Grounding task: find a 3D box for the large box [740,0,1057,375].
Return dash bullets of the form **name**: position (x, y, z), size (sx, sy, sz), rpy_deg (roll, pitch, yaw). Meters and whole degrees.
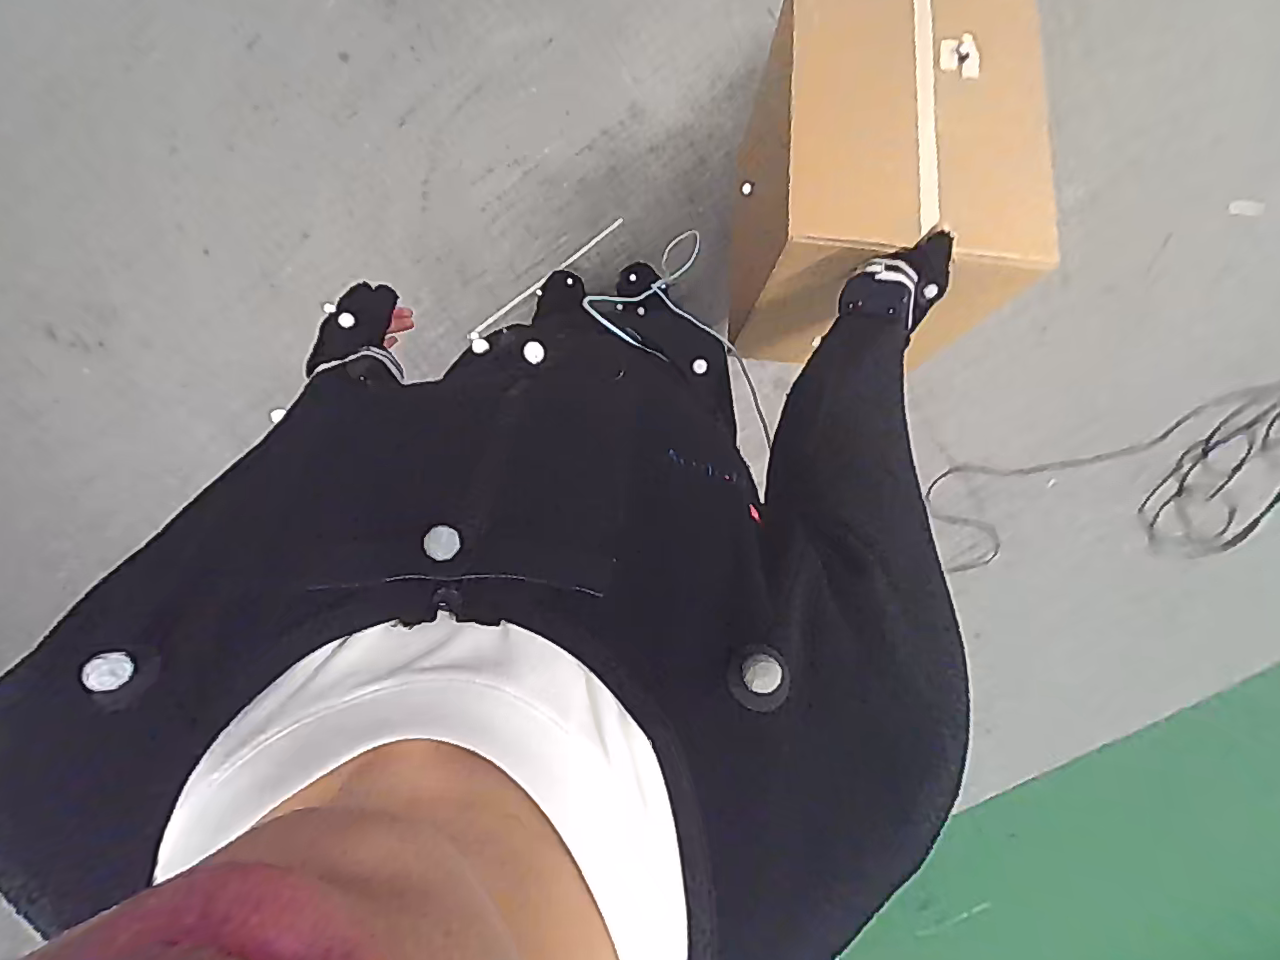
- **large box**: position (0.337, -0.407, 0.802), size (0.320, 0.320, 0.408), rpy_deg (6, 78, -3)
